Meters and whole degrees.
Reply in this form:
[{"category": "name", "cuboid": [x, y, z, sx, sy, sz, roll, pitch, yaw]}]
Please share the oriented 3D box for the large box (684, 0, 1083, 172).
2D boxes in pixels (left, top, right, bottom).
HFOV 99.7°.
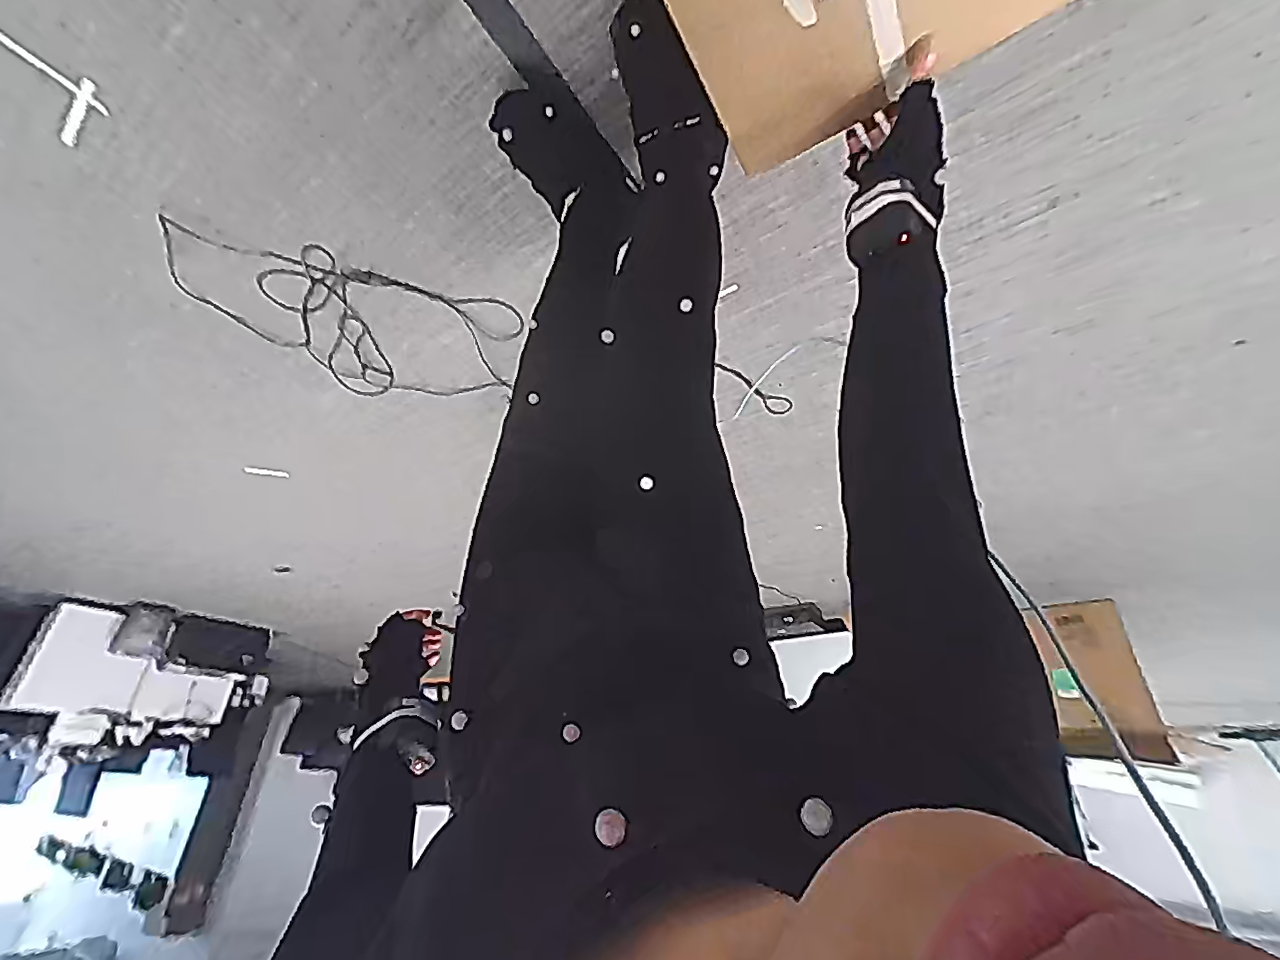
[{"category": "large box", "cuboid": [0.161, -0.594, 0.466, 0.320, 0.320, 0.408, -16, 147, 28]}]
